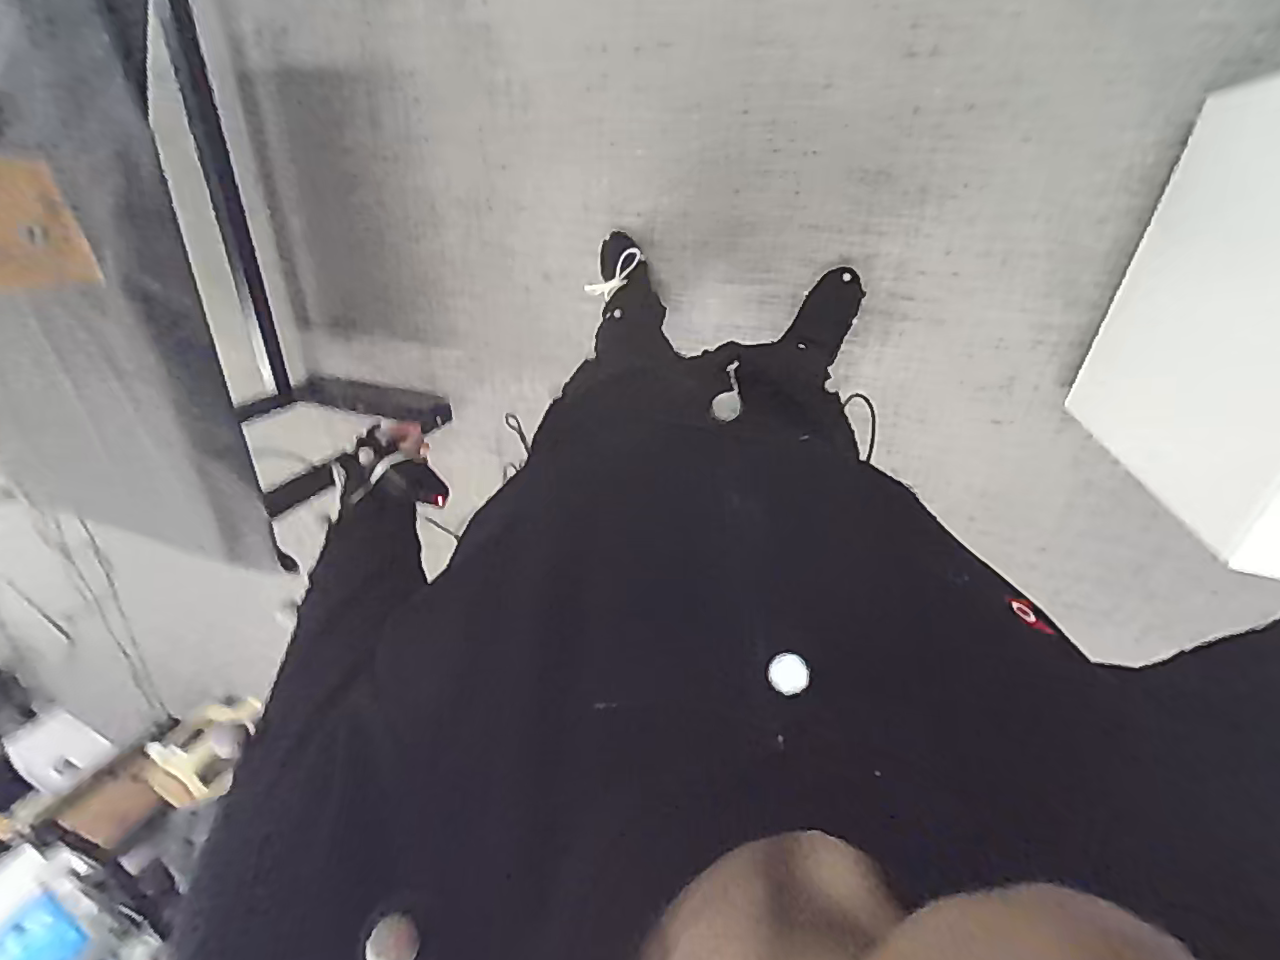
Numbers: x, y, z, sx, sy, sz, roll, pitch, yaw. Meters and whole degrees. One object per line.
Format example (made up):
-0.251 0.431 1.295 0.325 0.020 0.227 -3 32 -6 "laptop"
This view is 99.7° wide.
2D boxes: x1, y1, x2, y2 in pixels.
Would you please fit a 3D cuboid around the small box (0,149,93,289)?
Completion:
-0.914 -0.345 0.728 0.179 0.176 0.168 4 117 19 "small box"
